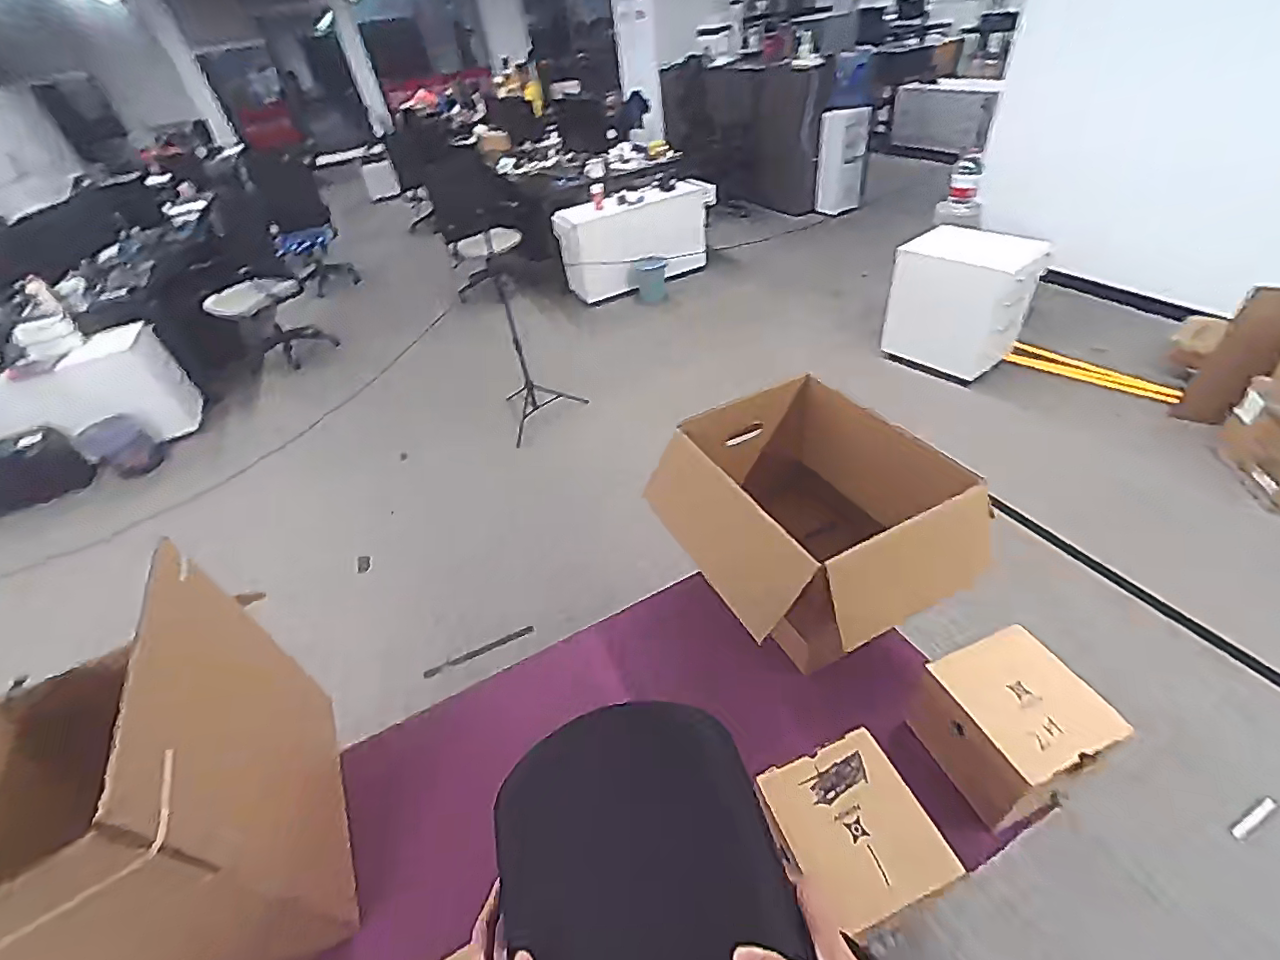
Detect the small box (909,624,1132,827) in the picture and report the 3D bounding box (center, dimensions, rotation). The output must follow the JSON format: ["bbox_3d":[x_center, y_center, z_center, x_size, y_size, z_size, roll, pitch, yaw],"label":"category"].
[{"bbox_3d":[0.514,0.345,0.765,0.168,0.176,0.179,-19,41,-10],"label":"small box"}]
